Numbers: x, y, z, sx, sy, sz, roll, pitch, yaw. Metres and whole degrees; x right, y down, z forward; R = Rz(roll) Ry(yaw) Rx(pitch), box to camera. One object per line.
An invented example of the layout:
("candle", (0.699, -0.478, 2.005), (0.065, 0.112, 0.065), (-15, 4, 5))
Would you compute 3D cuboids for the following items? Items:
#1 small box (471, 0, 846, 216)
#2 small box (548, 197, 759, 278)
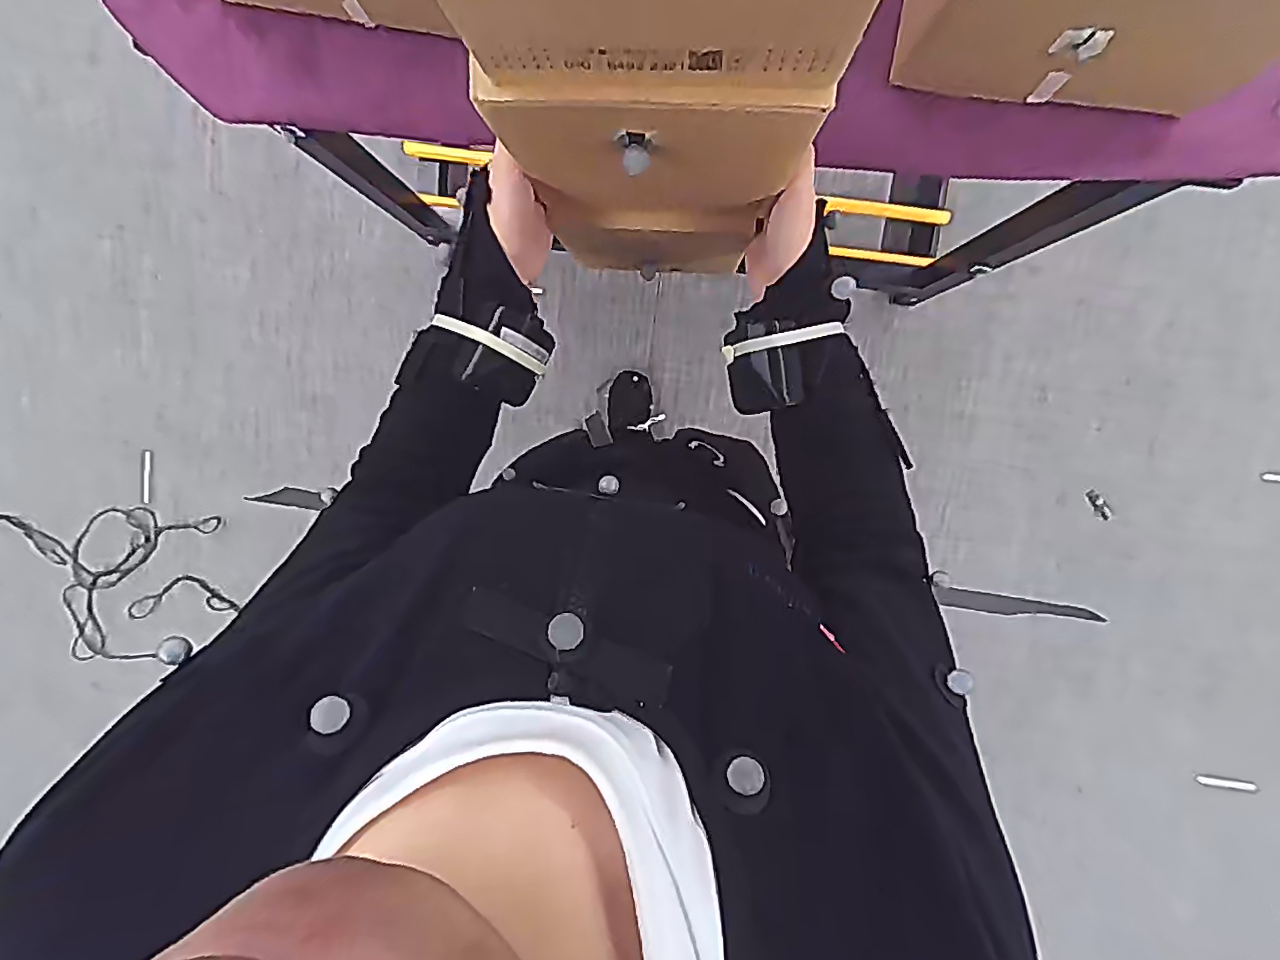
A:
("small box", (0.014, -0.270, 0.322), (0.179, 0.176, 0.168), (4, 100, 4))
("small box", (0.020, -0.291, 0.483), (0.168, 0.176, 0.179), (4, 101, 4))
